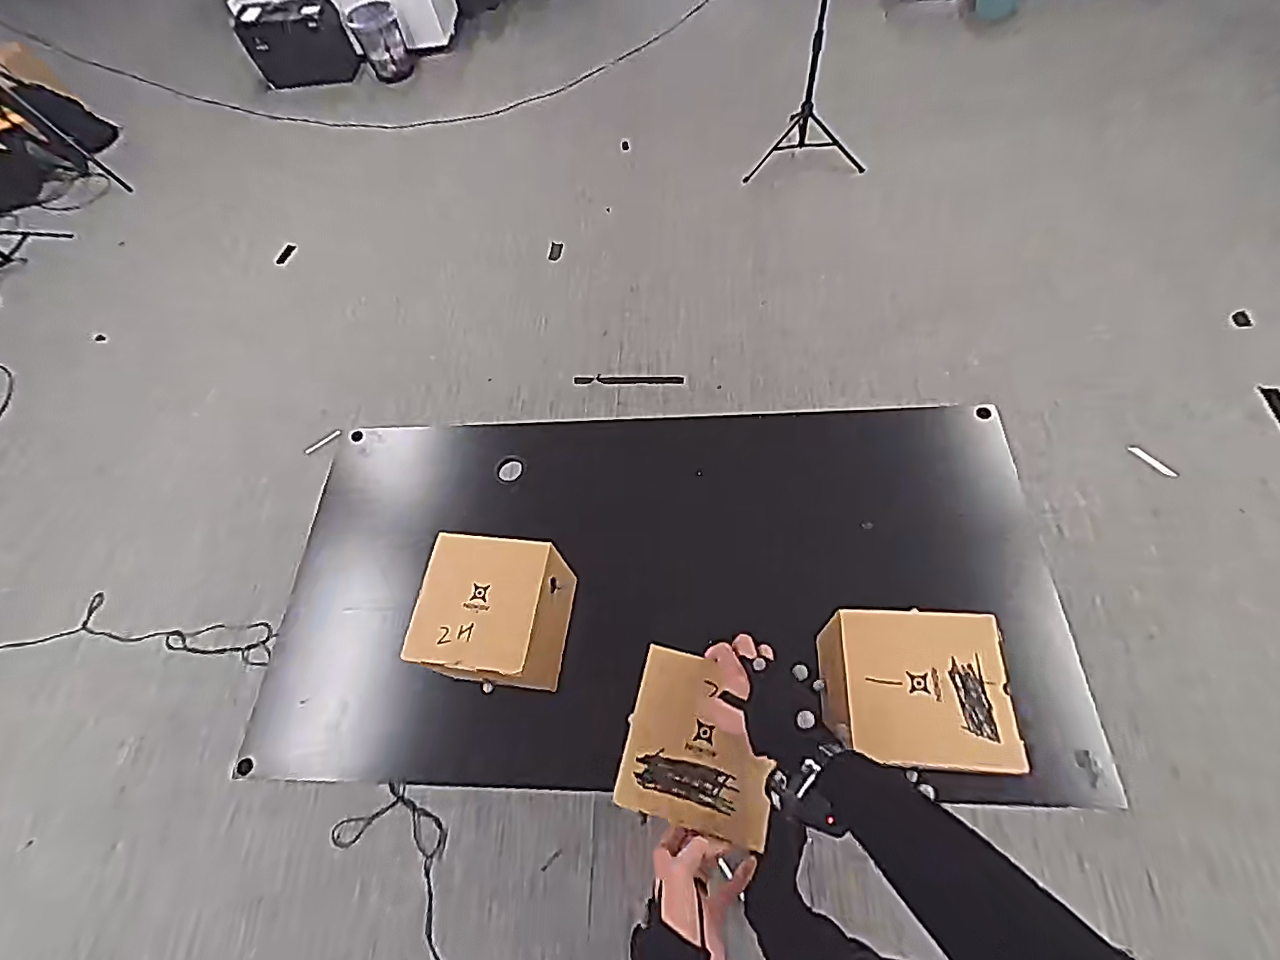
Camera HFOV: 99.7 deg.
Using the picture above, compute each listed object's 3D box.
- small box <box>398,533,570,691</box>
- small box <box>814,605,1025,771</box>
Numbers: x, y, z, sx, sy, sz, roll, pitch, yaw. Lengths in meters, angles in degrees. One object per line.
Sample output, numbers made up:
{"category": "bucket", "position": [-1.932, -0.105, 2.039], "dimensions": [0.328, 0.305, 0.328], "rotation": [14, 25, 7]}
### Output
{"category": "small box", "position": [-0.205, 0.192, 0.772], "dimensions": [0.168, 0.176, 0.179], "rotation": [3, 64, 9]}
{"category": "small box", "position": [0.324, 0.259, 0.669], "dimensions": [0.179, 0.176, 0.168], "rotation": [0, 63, 8]}
